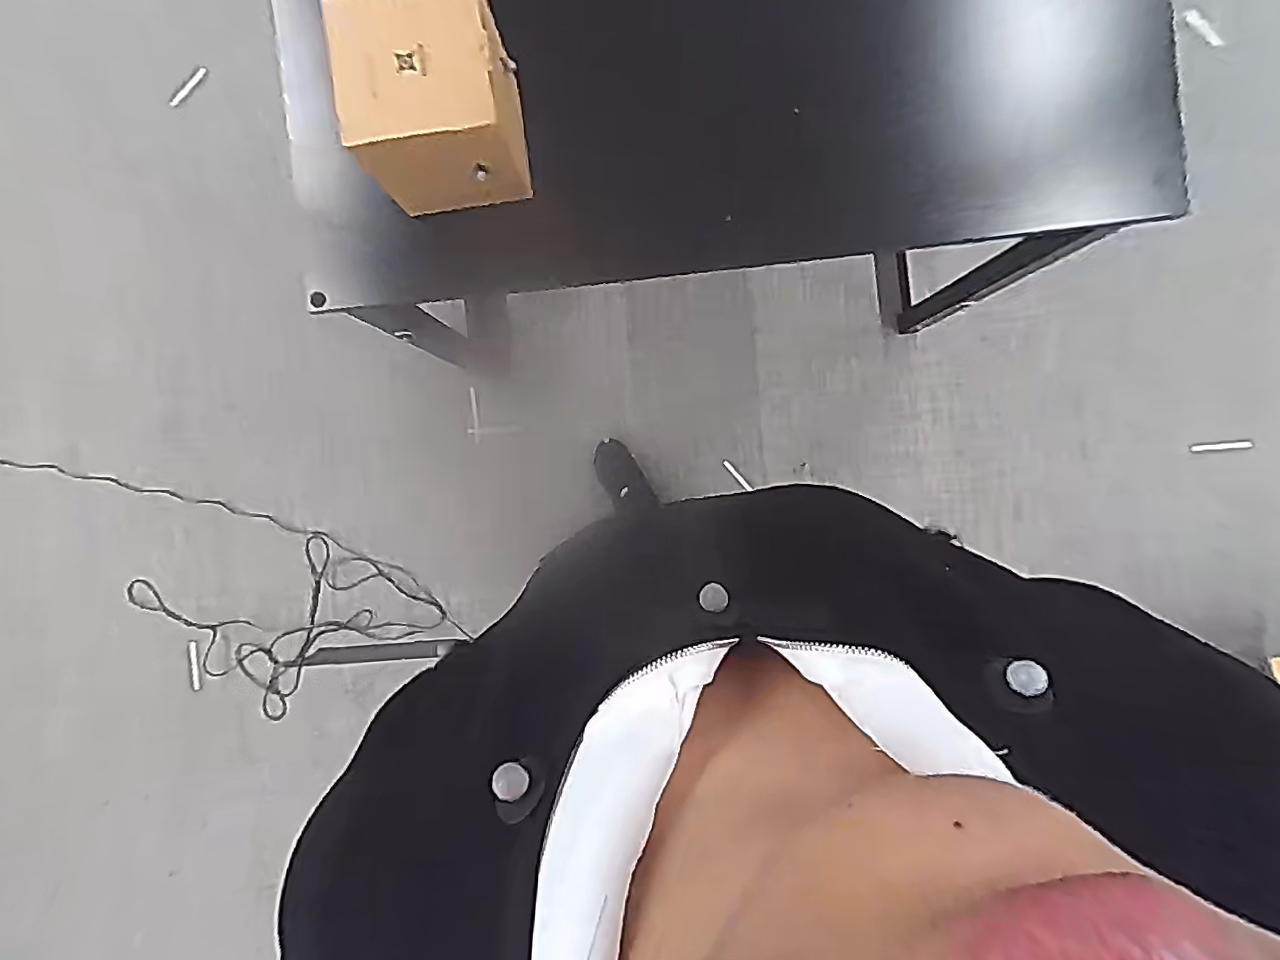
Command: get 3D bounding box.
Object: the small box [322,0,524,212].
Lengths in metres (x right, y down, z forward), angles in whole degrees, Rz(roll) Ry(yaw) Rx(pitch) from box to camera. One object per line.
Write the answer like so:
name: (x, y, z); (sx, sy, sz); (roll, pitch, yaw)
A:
small box: (-0.250, -0.461, 0.670); (0.179, 0.176, 0.168); (-8, 91, 3)
